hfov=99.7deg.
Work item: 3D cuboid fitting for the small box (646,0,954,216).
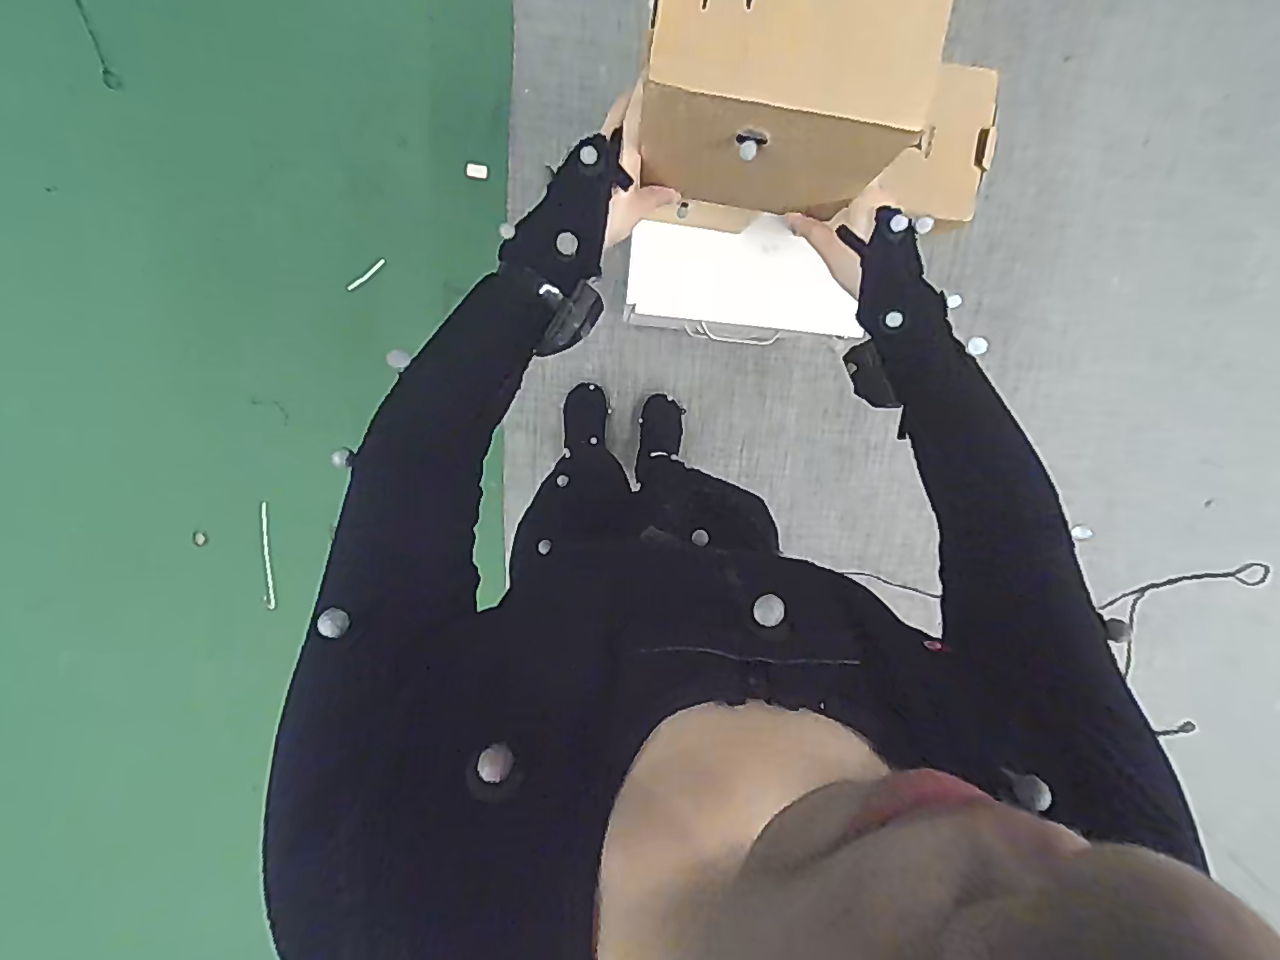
[{"bbox_3d":[0.102,-0.317,0.398,0.179,0.176,0.168,9,98,-3],"label":"small box"}]

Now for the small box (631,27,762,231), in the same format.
[{"bbox_3d":[0.084,-0.432,0.696,0.179,0.176,0.168,6,104,-5],"label":"small box"}]

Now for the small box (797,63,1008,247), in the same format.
[{"bbox_3d":[0.328,-0.416,0.713,0.179,0.176,0.168,6,103,-2],"label":"small box"}]
